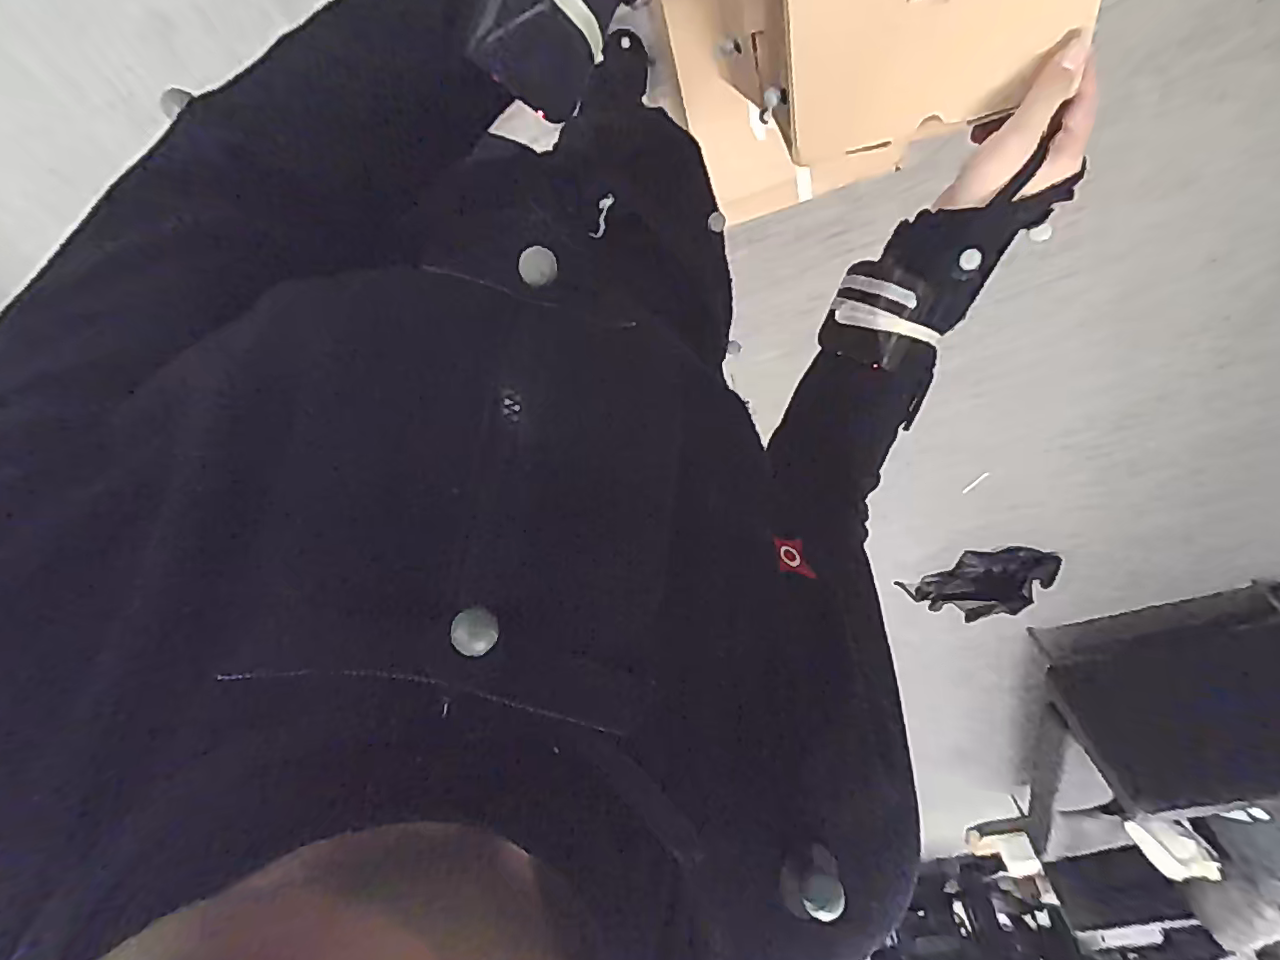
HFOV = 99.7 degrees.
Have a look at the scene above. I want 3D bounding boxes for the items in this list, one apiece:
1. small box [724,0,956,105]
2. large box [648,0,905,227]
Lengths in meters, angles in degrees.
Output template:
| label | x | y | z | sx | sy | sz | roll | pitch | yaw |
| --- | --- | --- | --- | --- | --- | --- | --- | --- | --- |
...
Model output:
| label | x | y | z | sx | sy | sz | roll | pitch | yaw |
| --- | --- | --- | --- | --- | --- | --- | --- | --- | --- |
| small box | 0.170 | -0.478 | 0.499 | 0.179 | 0.176 | 0.168 | -14 | 133 | 7 |
| large box | 0.198 | -0.696 | 0.853 | 0.320 | 0.320 | 0.408 | -15 | 132 | 11 |
